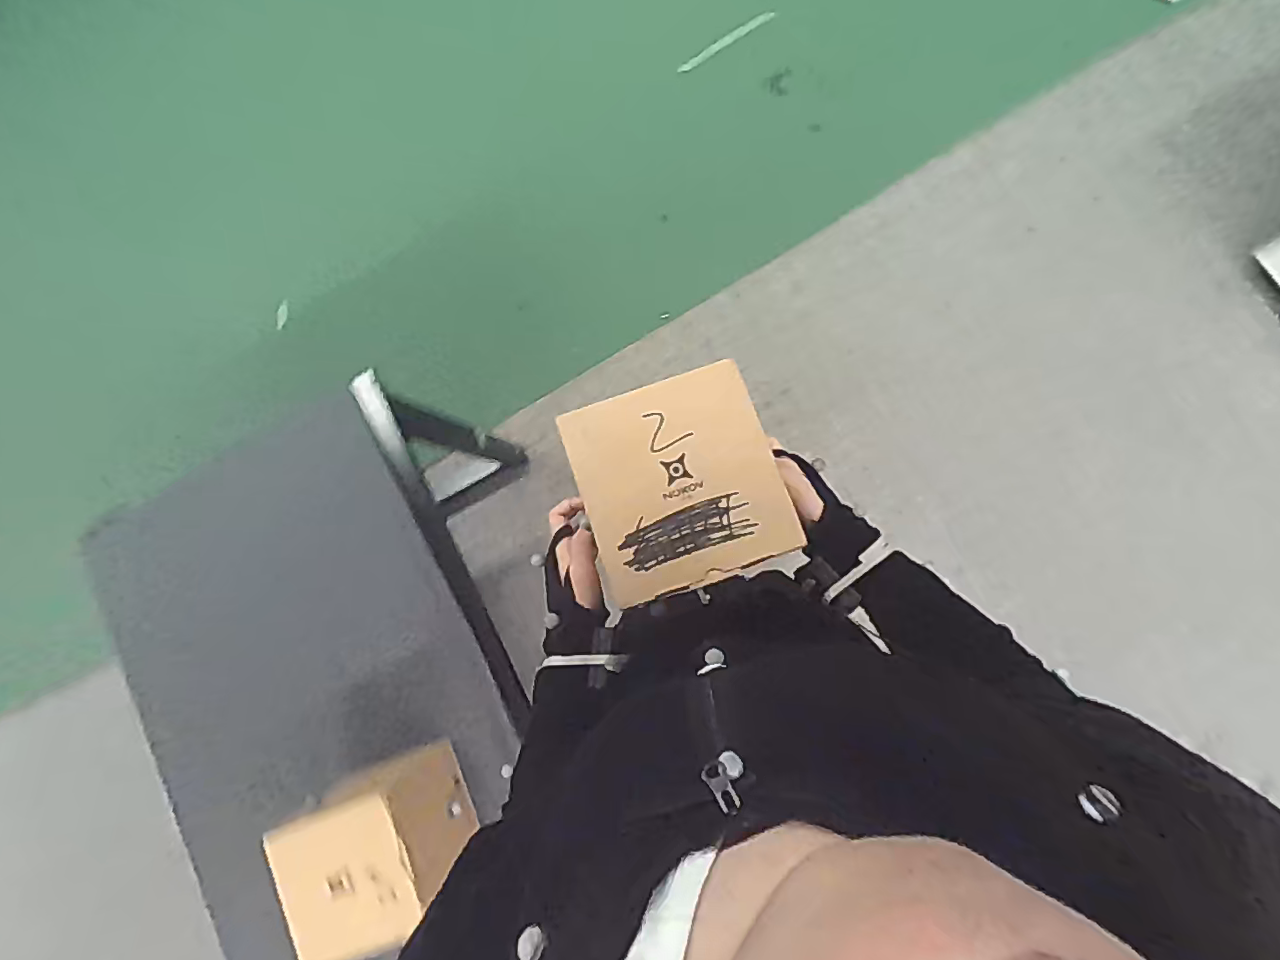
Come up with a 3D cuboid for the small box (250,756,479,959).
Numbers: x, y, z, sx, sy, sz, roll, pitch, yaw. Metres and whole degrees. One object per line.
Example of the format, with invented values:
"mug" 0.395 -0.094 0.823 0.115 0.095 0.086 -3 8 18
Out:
"small box" -0.342 0.494 0.698 0.179 0.176 0.168 -24 82 5
